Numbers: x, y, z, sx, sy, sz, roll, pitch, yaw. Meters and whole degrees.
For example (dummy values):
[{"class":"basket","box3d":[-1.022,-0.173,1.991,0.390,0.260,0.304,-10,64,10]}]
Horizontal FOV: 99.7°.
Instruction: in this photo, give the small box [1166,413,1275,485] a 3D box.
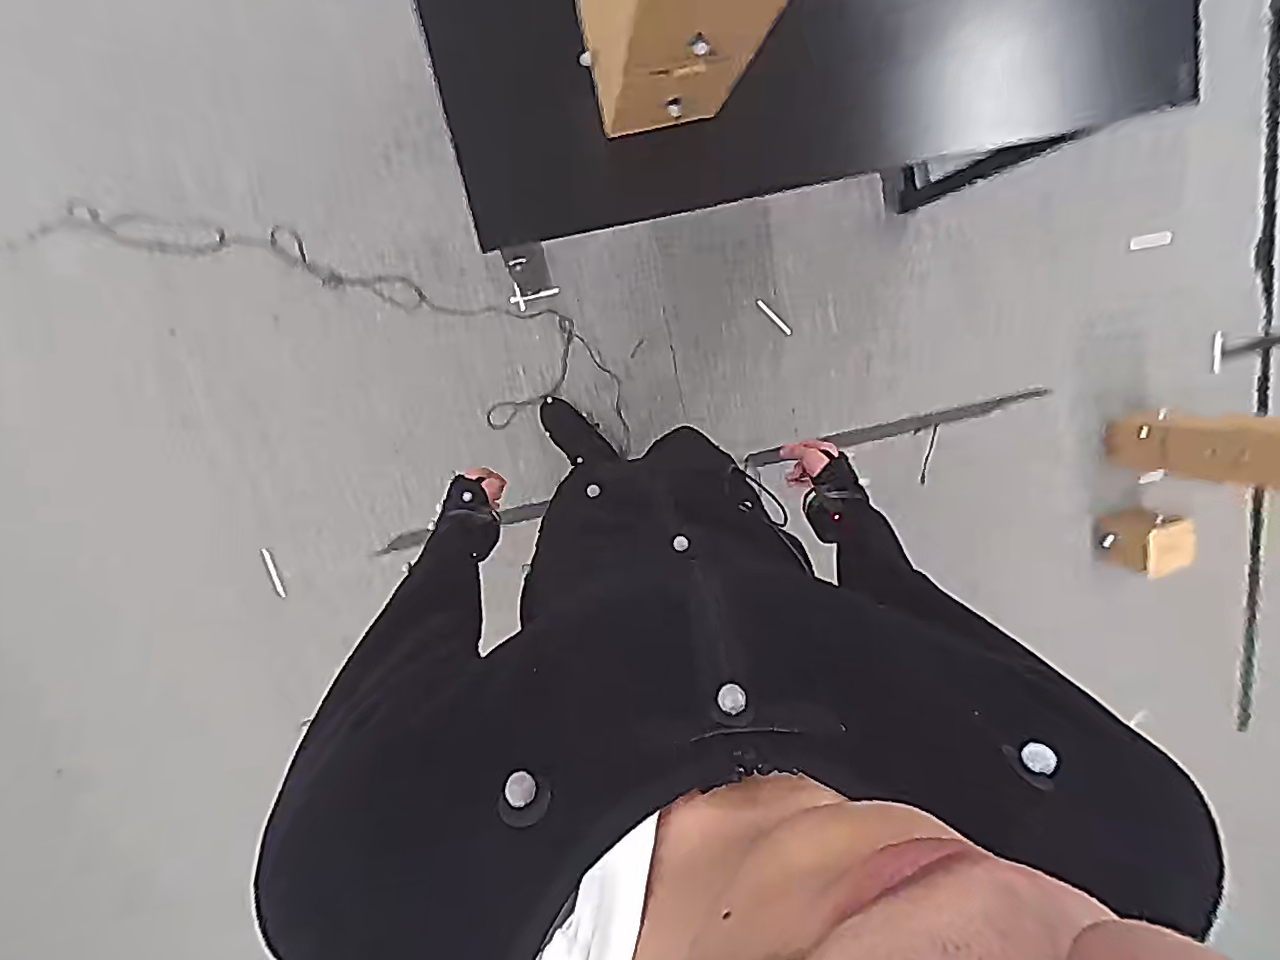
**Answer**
[{"class":"small box","box3d":[1.738,-0.101,1.624,0.168,0.176,0.179,-14,105,-6]}]

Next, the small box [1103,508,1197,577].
[{"class":"small box","box3d":[1.752,0.208,1.863,0.179,0.176,0.168,-15,102,-4]}]

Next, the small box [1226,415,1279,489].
[{"class":"small box","box3d":[1.767,-0.079,1.465,0.179,0.176,0.168,-12,104,-5]}]

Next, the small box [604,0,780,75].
[{"class":"small box","box3d":[0.045,-0.546,0.526,0.168,0.176,0.179,-15,103,-5]}]

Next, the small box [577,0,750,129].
[{"class":"small box","box3d":[0.021,-0.577,0.687,0.168,0.176,0.179,-16,104,-5]}]
